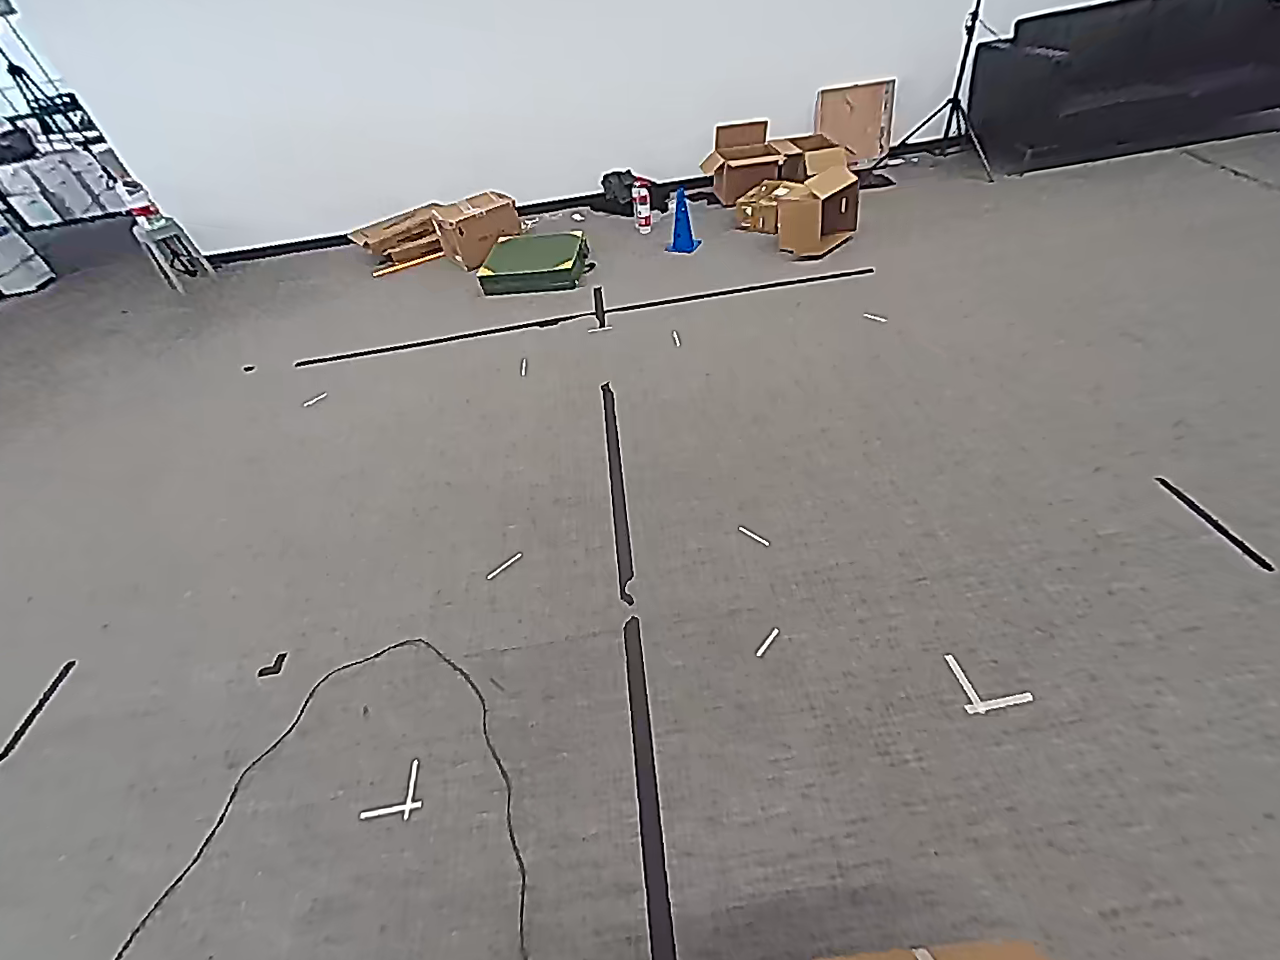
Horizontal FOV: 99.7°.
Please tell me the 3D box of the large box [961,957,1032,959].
[{"bbox_3d":[0.403,0.795,0.541,0.320,0.408,0.320,-6,81,1],"label":"large box"}]
